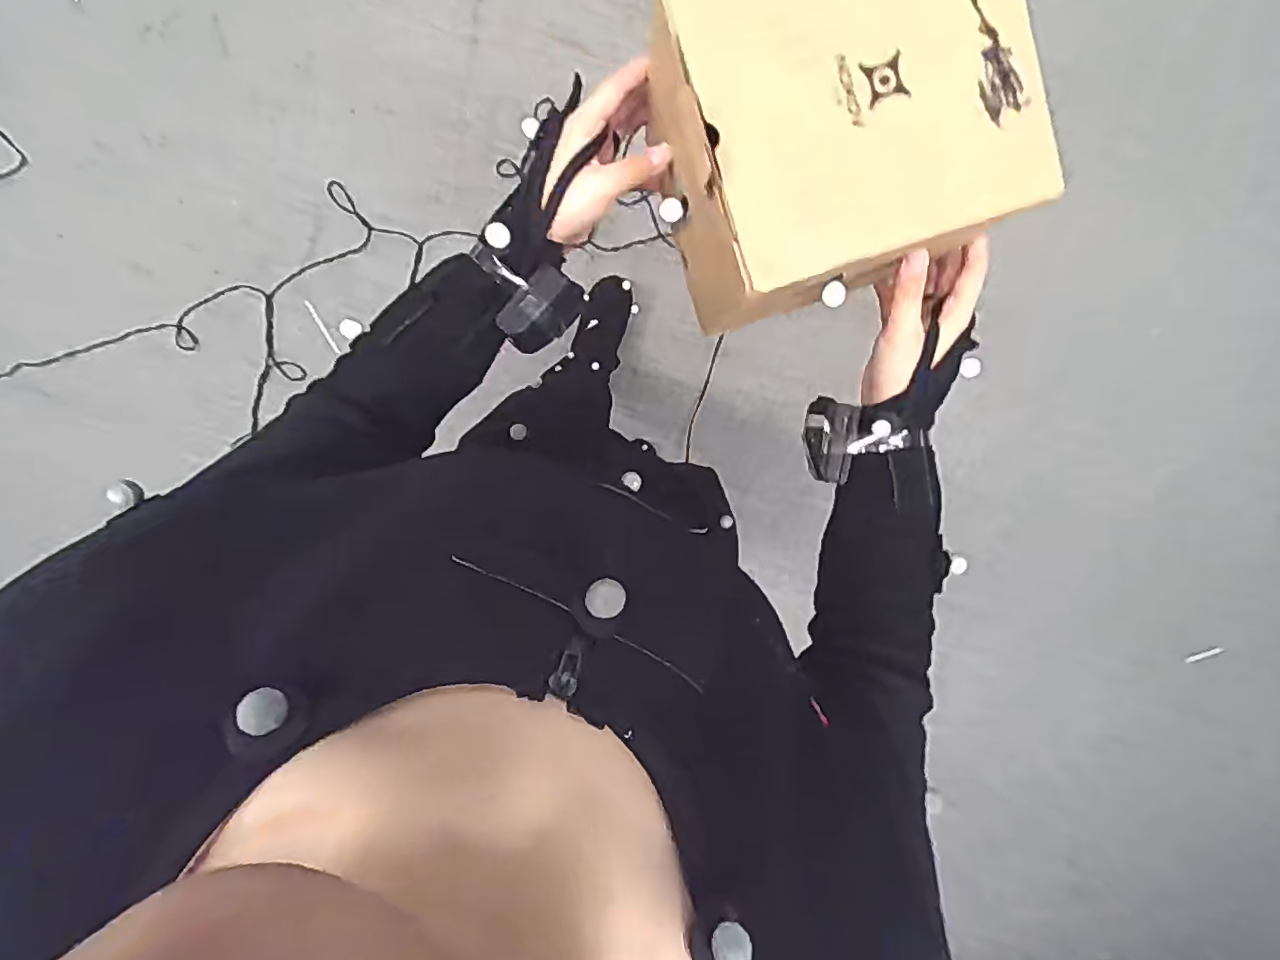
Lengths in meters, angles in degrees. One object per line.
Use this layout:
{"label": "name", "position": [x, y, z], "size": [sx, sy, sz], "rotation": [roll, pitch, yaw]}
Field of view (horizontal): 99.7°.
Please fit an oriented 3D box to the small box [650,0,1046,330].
{"label": "small box", "position": [0.112, -0.212, 0.363], "size": [0.179, 0.176, 0.168], "rotation": [-18, 97, 1]}
